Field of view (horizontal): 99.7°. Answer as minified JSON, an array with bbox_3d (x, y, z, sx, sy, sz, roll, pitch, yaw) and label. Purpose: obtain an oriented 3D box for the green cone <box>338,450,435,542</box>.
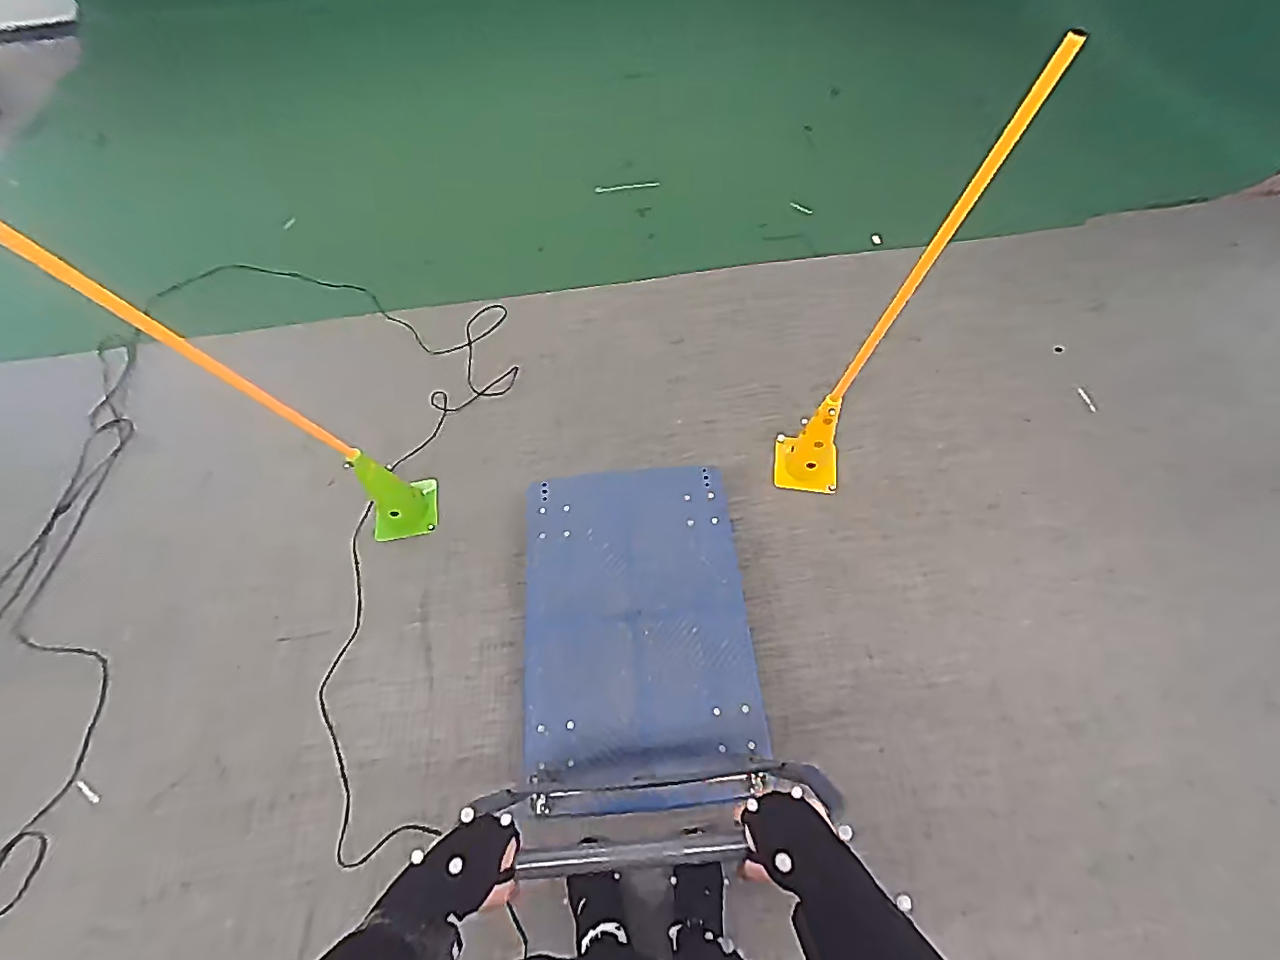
[{"bbox_3d":[-0.789,0.015,1.635,0.202,0.368,0.200,-12,61,-2],"label":"green cone"}]
